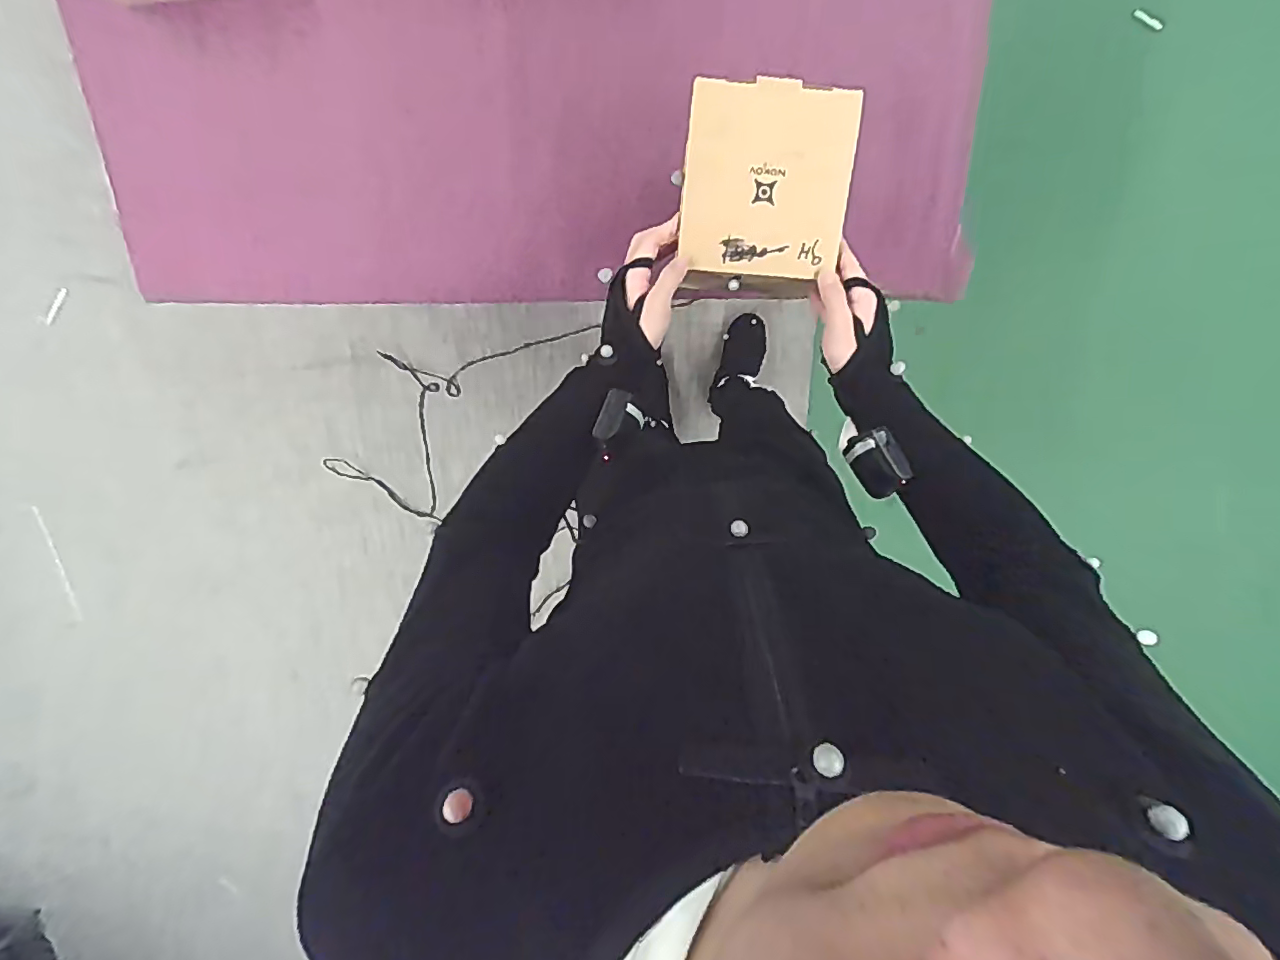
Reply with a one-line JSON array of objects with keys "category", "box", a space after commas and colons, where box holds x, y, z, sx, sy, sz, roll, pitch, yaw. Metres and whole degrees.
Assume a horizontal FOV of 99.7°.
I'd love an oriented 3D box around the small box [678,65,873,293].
[{"category": "small box", "box": [0.134, -0.317, 0.605, 0.168, 0.176, 0.179, 5, 103, 1]}]
